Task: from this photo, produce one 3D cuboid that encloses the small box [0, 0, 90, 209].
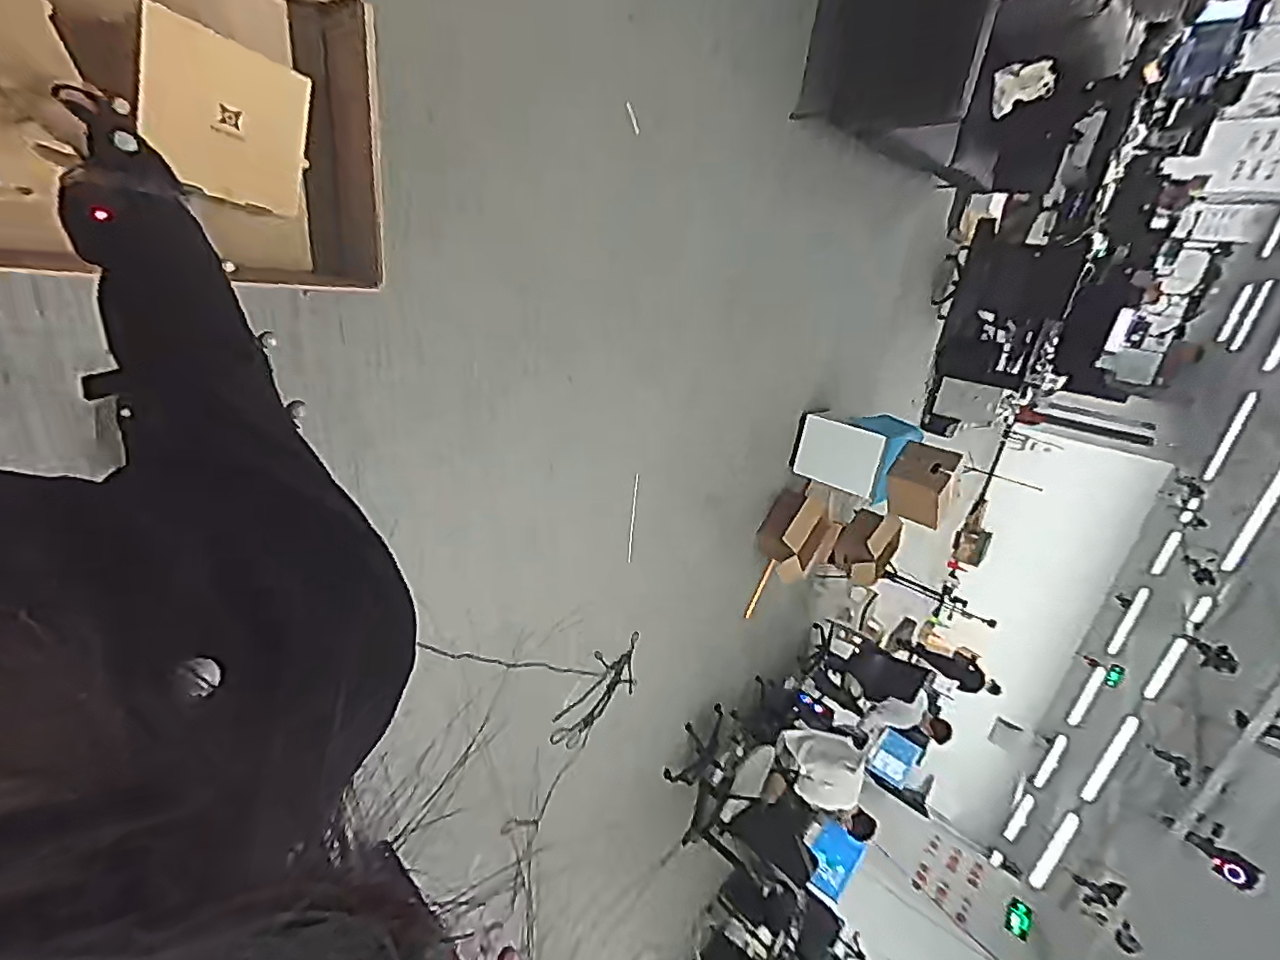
[{"bbox_3d":[-0.654,-0.379,0.494,0.168,0.176,0.179,-30,100,-46],"label":"small box"}]
